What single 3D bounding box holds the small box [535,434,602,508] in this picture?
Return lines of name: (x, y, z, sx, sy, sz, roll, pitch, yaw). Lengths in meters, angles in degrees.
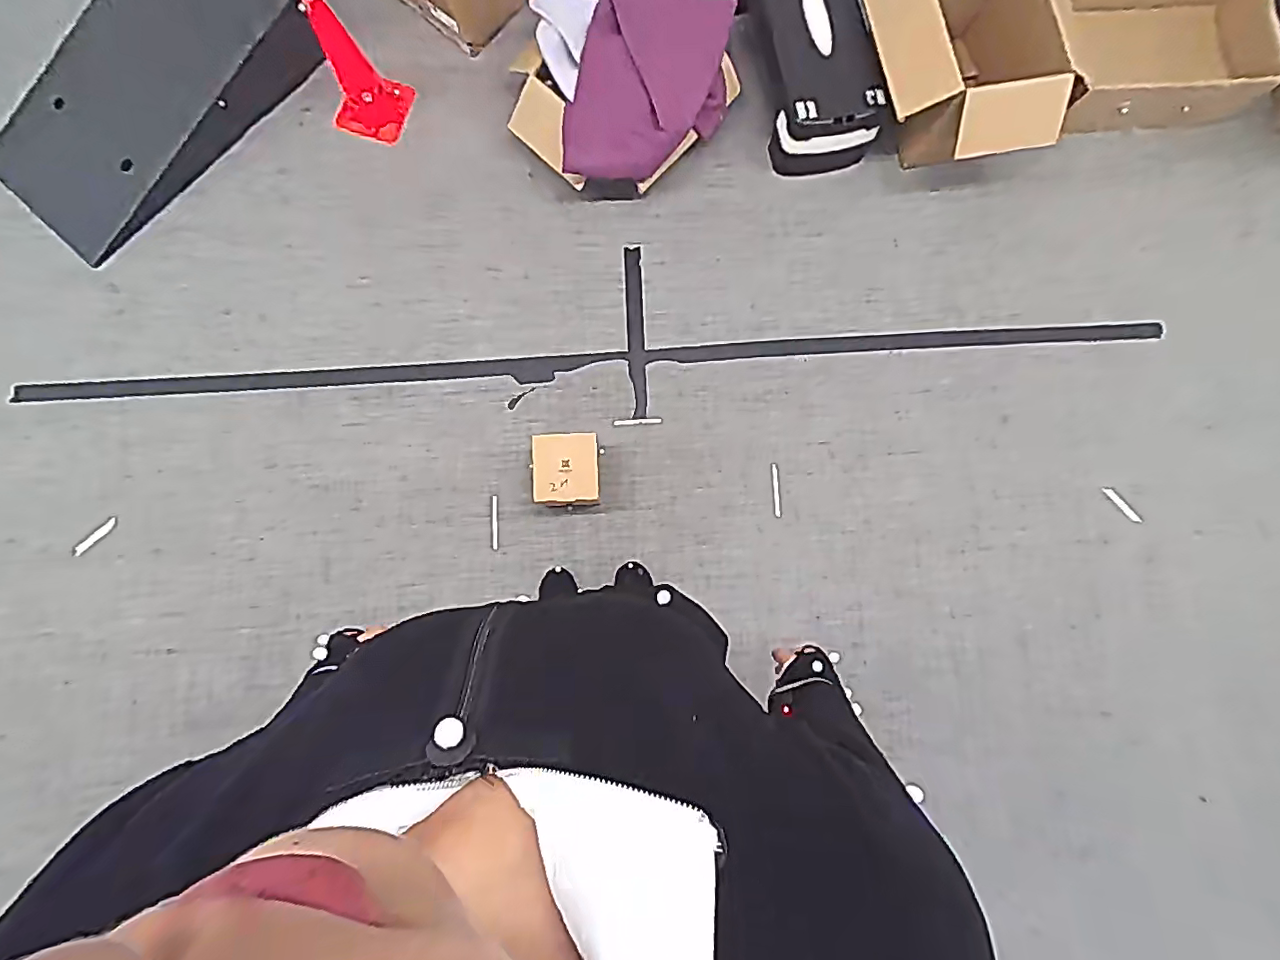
small box: (-0.189, -0.019, 1.453, 0.168, 0.176, 0.179, -2, 83, -1)
